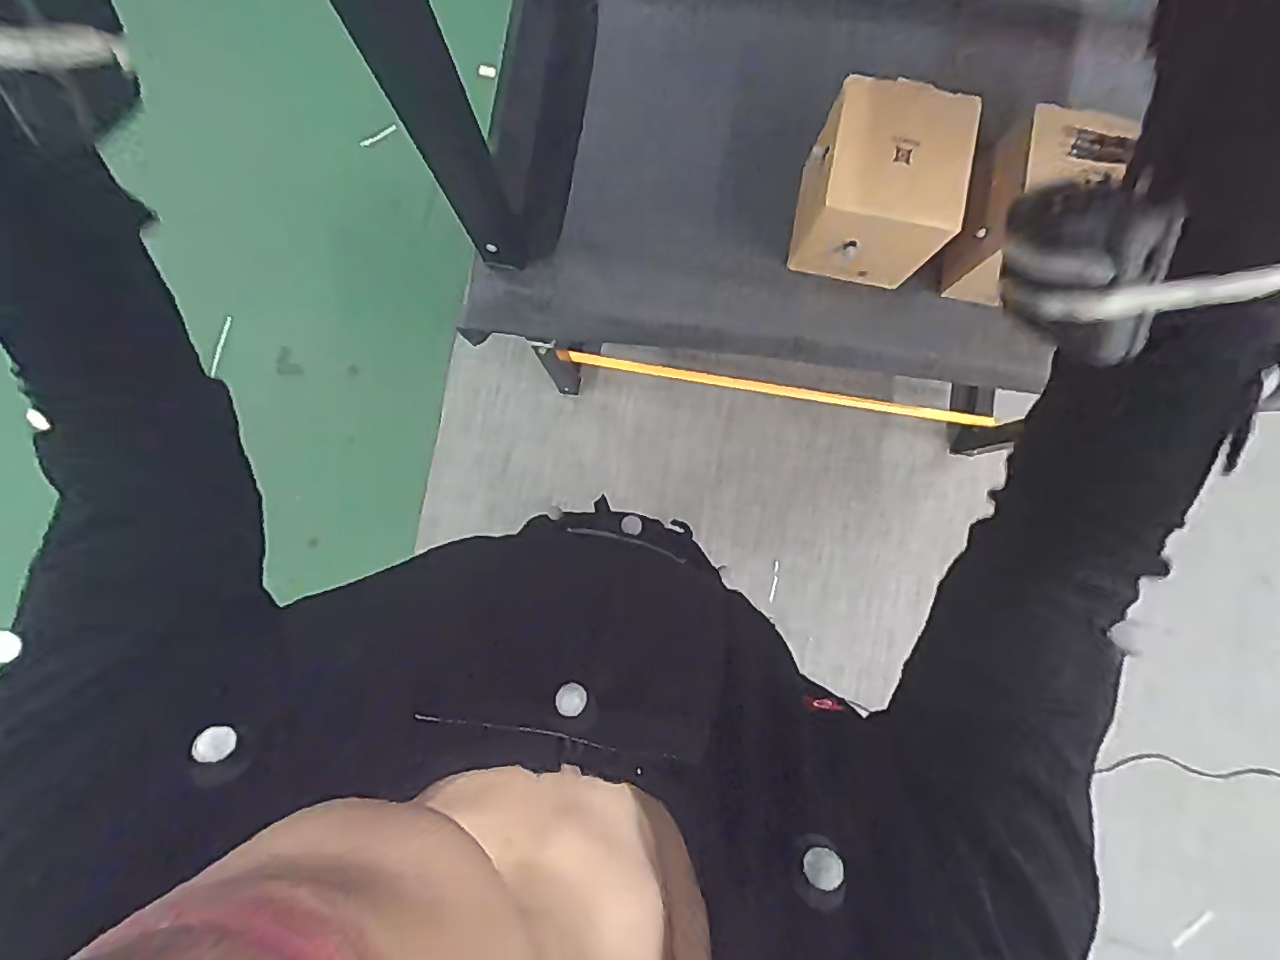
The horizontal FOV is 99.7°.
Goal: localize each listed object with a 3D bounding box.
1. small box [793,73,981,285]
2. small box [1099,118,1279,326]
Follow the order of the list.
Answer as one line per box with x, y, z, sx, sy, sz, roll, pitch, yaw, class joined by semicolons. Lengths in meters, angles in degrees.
0.315;-0.387;0.725;0.168;0.176;0.179;11;85;1;small box
0.764;-0.326;0.717;0.168;0.176;0.179;12;85;1;small box
